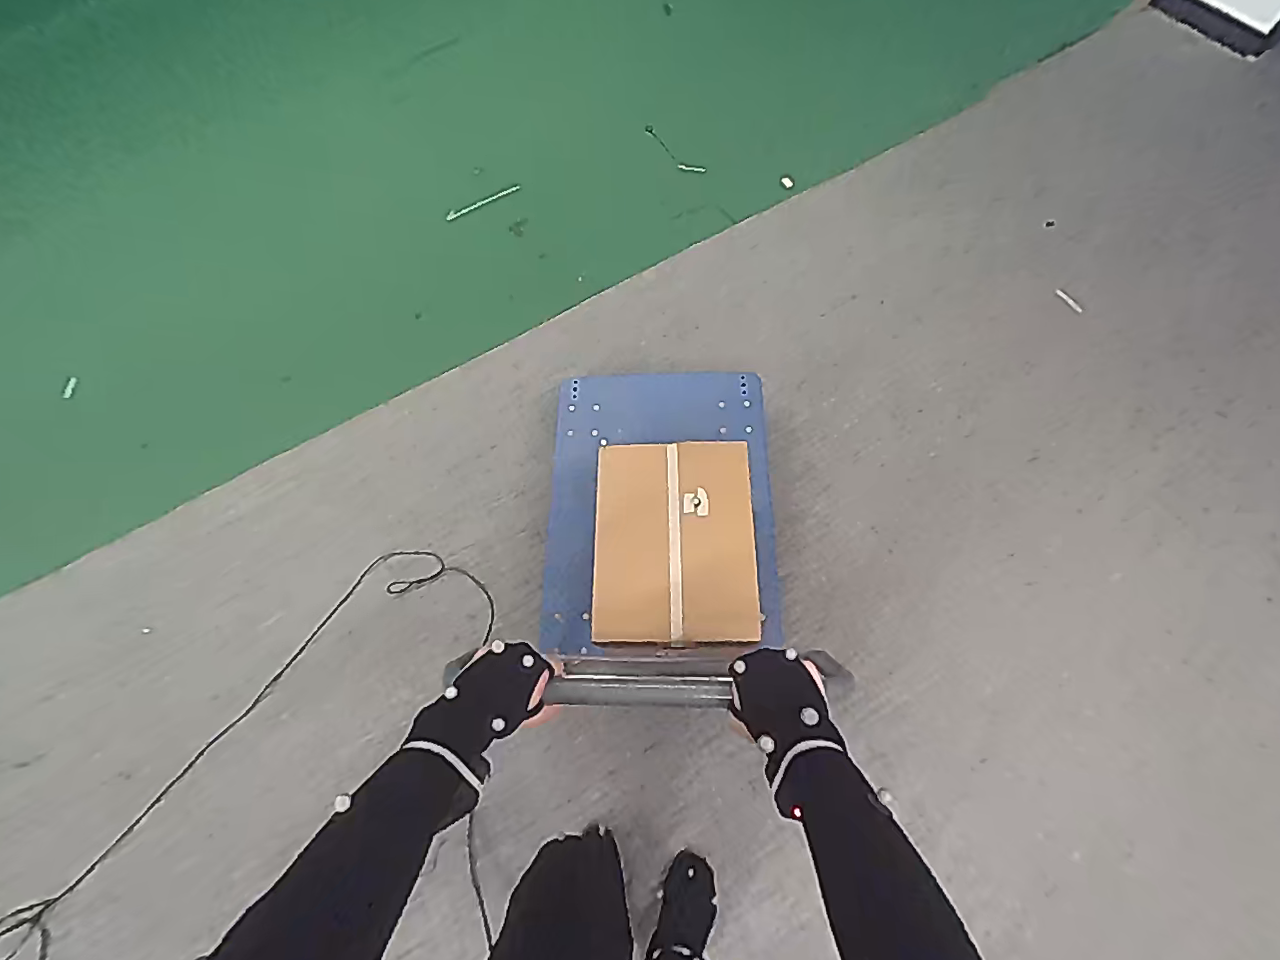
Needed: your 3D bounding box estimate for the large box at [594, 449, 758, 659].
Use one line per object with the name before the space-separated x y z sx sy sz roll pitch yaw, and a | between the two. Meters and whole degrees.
large box | 0.077 0.180 1.220 0.320 0.320 0.408 -1 67 3
